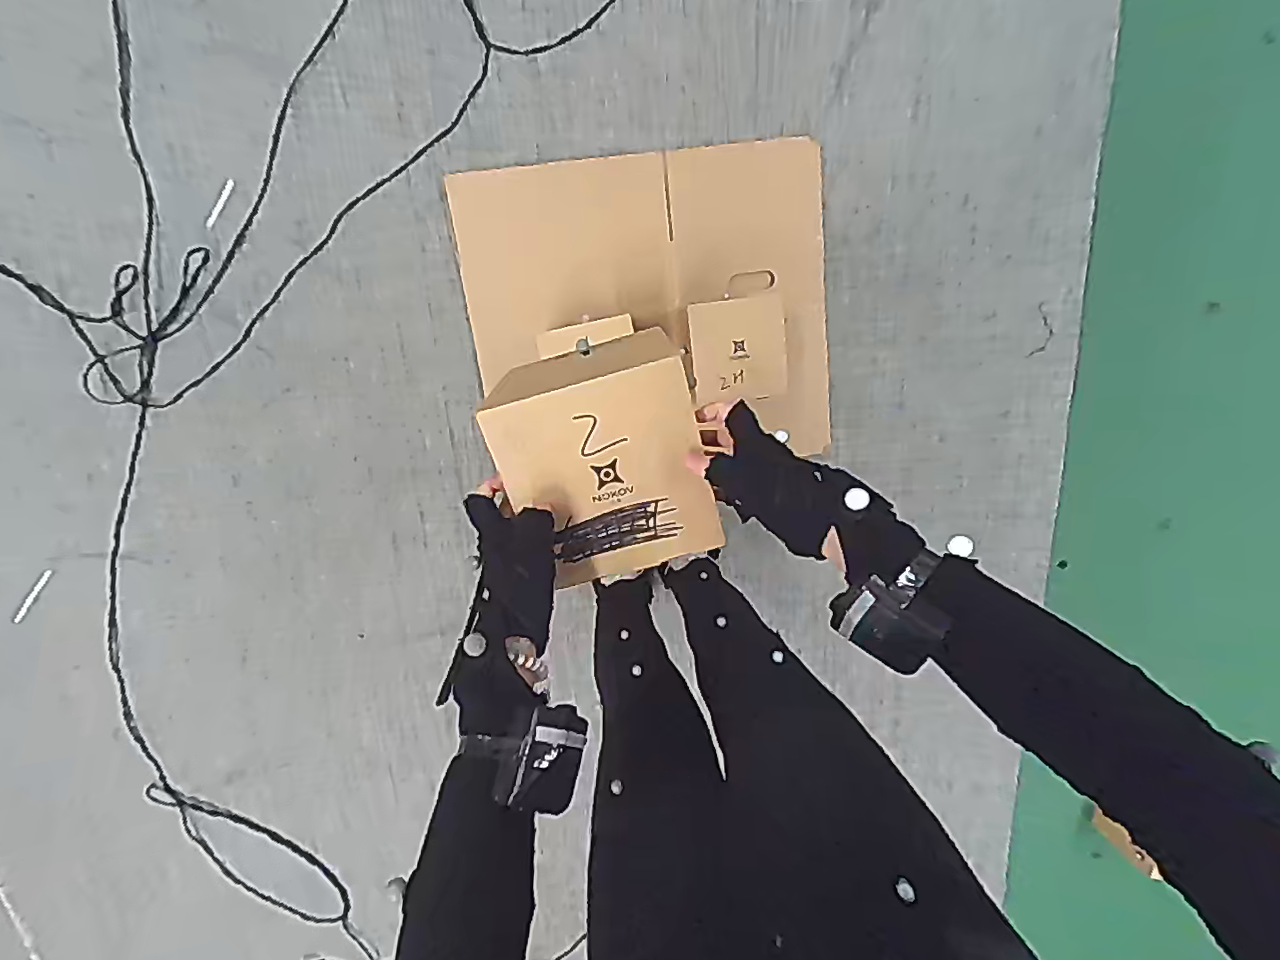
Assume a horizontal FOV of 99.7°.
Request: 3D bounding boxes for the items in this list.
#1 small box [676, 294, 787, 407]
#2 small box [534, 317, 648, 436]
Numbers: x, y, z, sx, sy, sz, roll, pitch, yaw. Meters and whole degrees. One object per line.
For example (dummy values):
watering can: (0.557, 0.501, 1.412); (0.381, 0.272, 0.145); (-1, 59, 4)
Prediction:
small box: (0.163, -0.239, 1.004); (0.168, 0.176, 0.179); (-8, 105, -1)
small box: (-0.085, -0.194, 0.992); (0.168, 0.176, 0.179); (-12, 105, -1)
